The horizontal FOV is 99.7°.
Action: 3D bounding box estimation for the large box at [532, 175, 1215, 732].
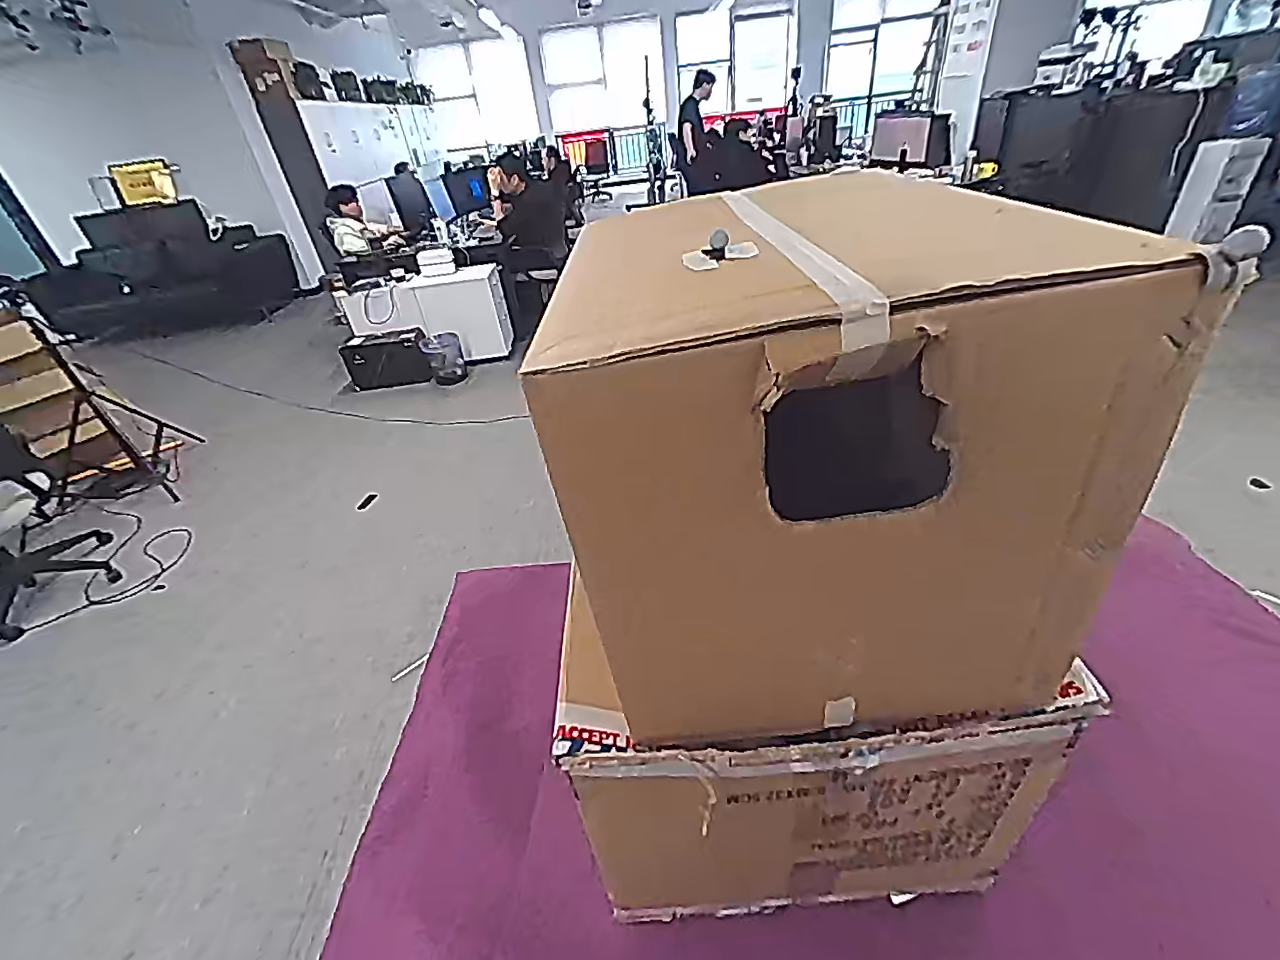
[{"bbox_3d":[0.115,-0.057,0.487,0.320,0.320,0.408,-10,34,5],"label":"large box"}]
